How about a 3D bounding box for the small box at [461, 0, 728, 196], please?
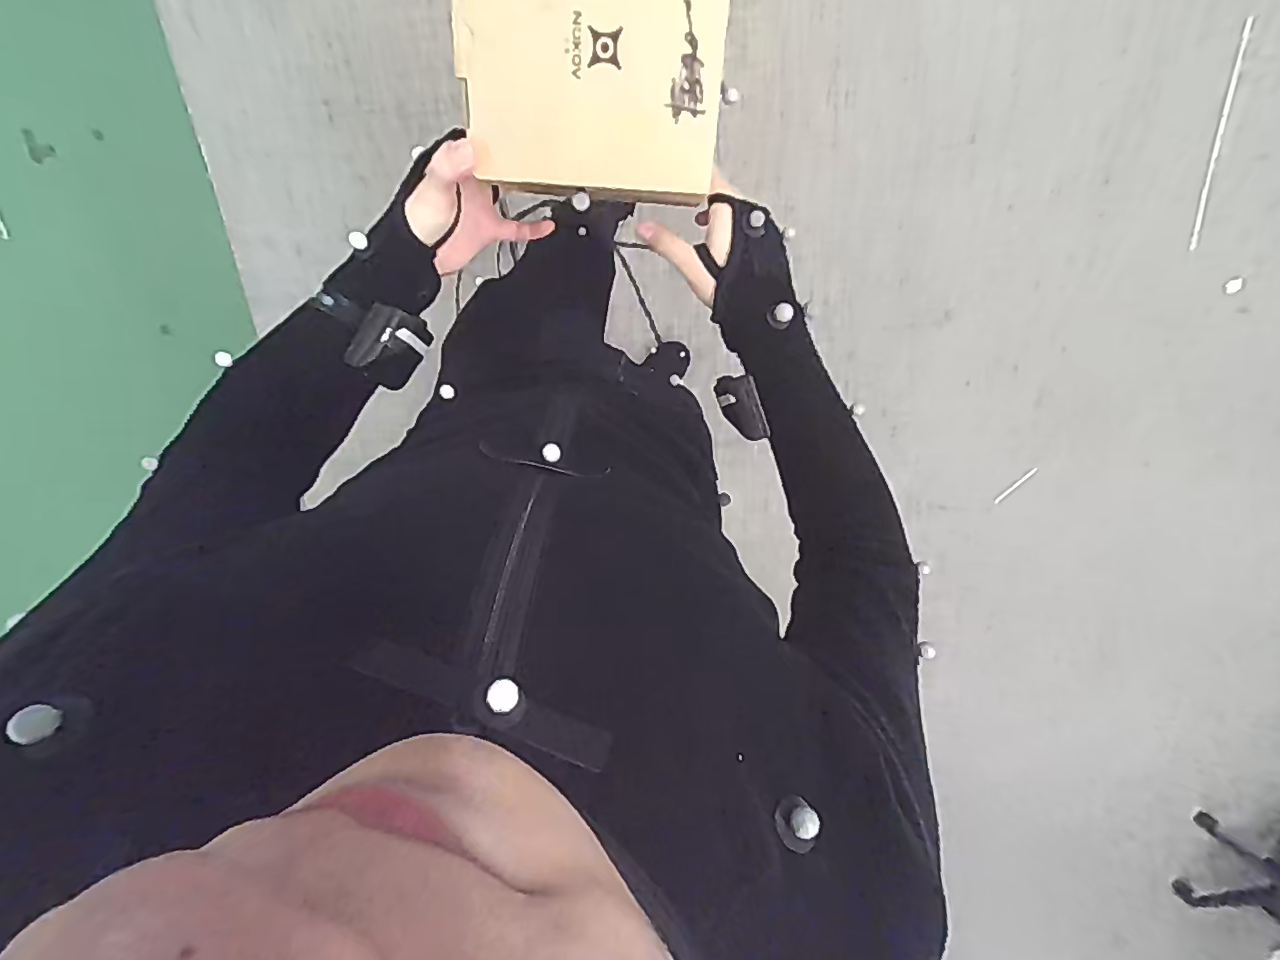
[{"bbox_3d":[-0.026,-0.325,0.426,0.179,0.176,0.168,4,114,2],"label":"small box"}]
